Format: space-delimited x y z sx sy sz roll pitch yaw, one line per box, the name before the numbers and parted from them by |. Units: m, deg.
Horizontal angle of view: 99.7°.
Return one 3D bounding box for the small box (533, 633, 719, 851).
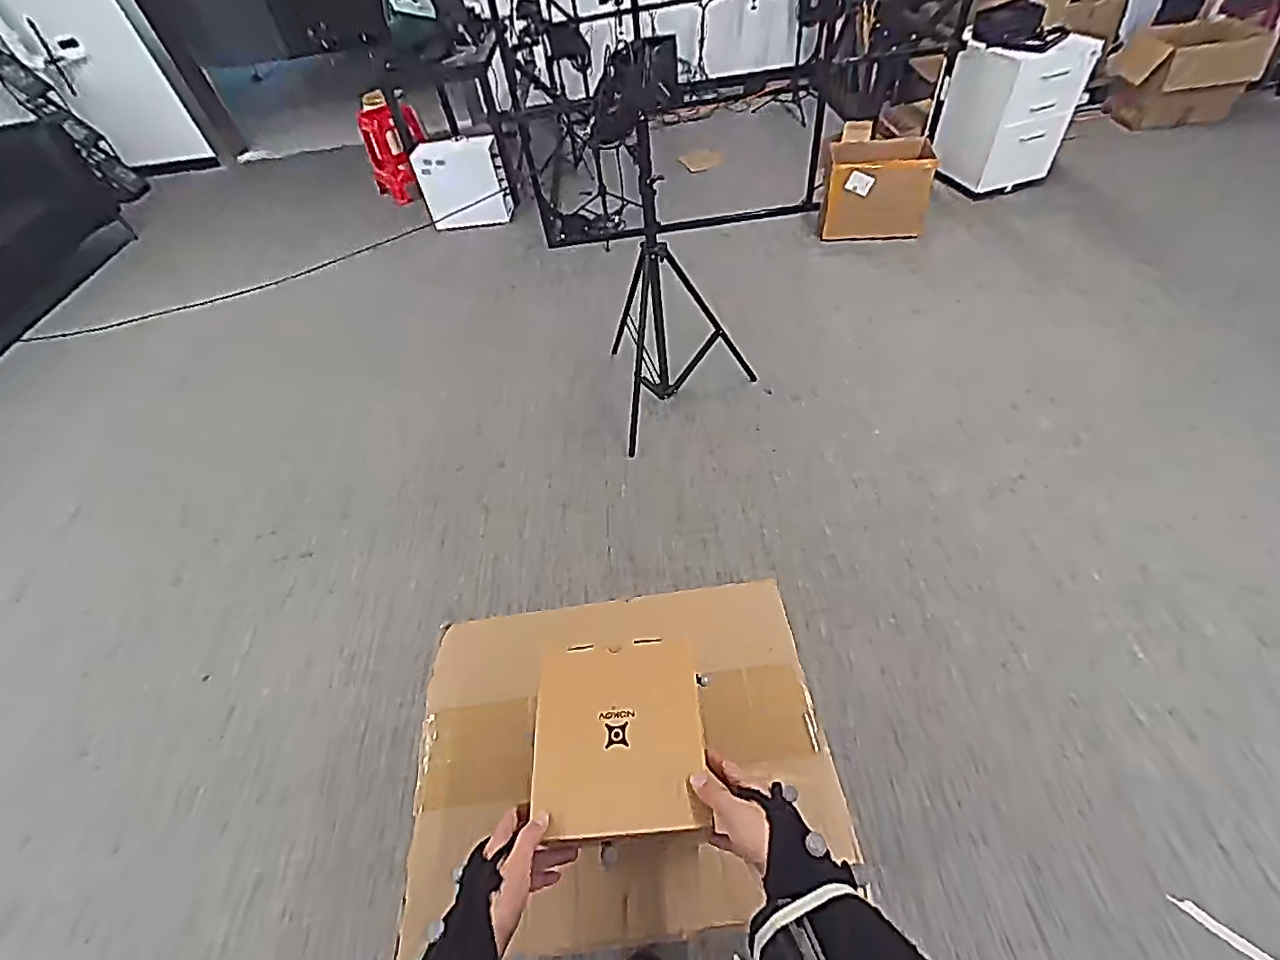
small box | -0.008 0.287 0.582 0.168 0.176 0.179 -7 50 3
